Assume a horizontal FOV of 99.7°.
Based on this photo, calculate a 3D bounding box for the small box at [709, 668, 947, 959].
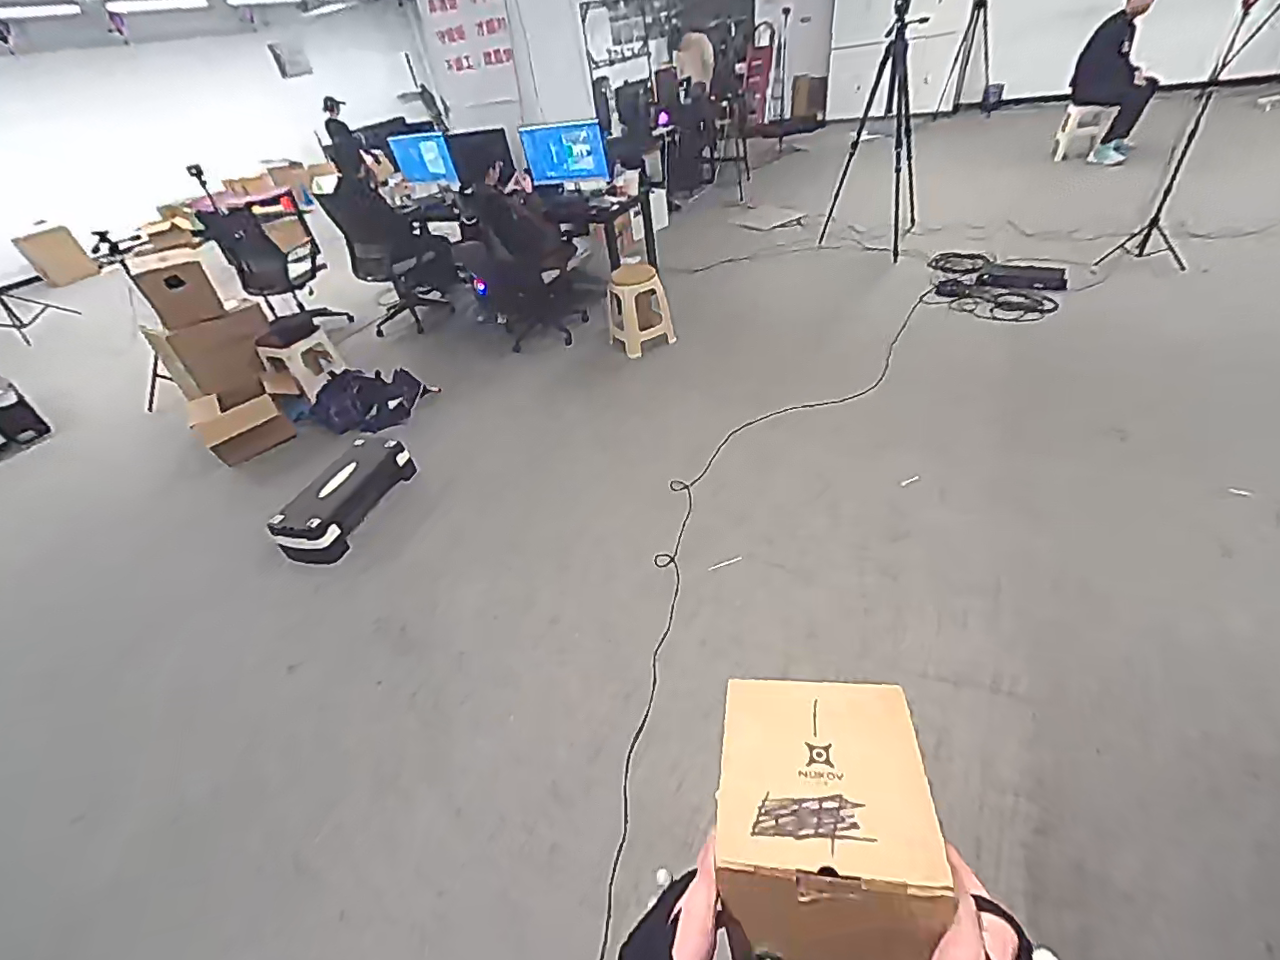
[{"bbox_3d":[0.161,0.298,0.488,0.168,0.176,0.179,-2,29,15],"label":"small box"}]
